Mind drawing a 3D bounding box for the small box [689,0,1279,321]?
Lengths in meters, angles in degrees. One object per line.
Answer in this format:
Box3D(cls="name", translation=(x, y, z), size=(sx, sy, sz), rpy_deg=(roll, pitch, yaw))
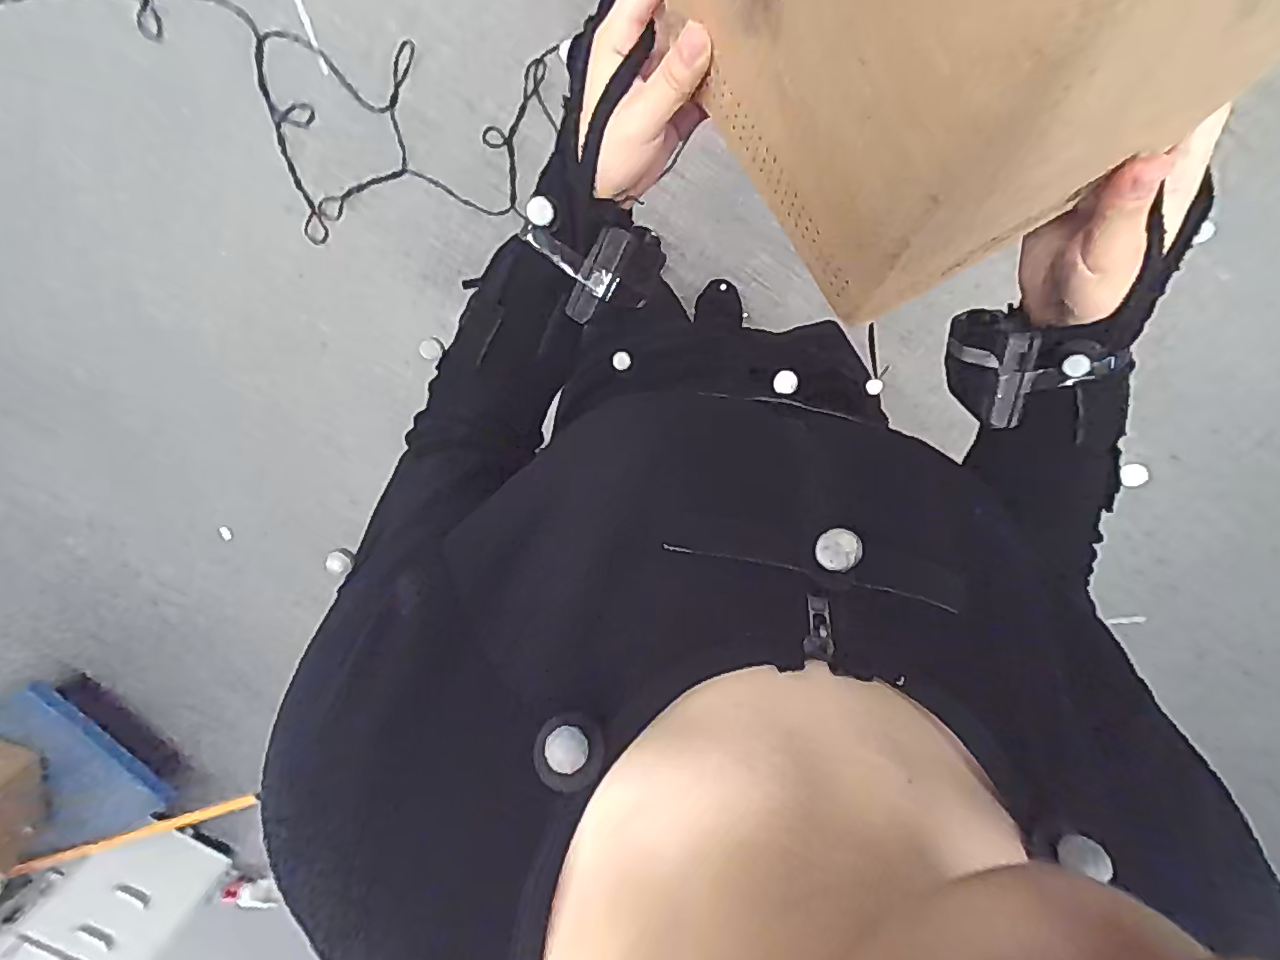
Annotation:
Box3D(cls="small box", translation=(0.124, -0.191, 0.188), size=(0.168, 0.176, 0.179), rpy_deg=(-30, 82, 3))
